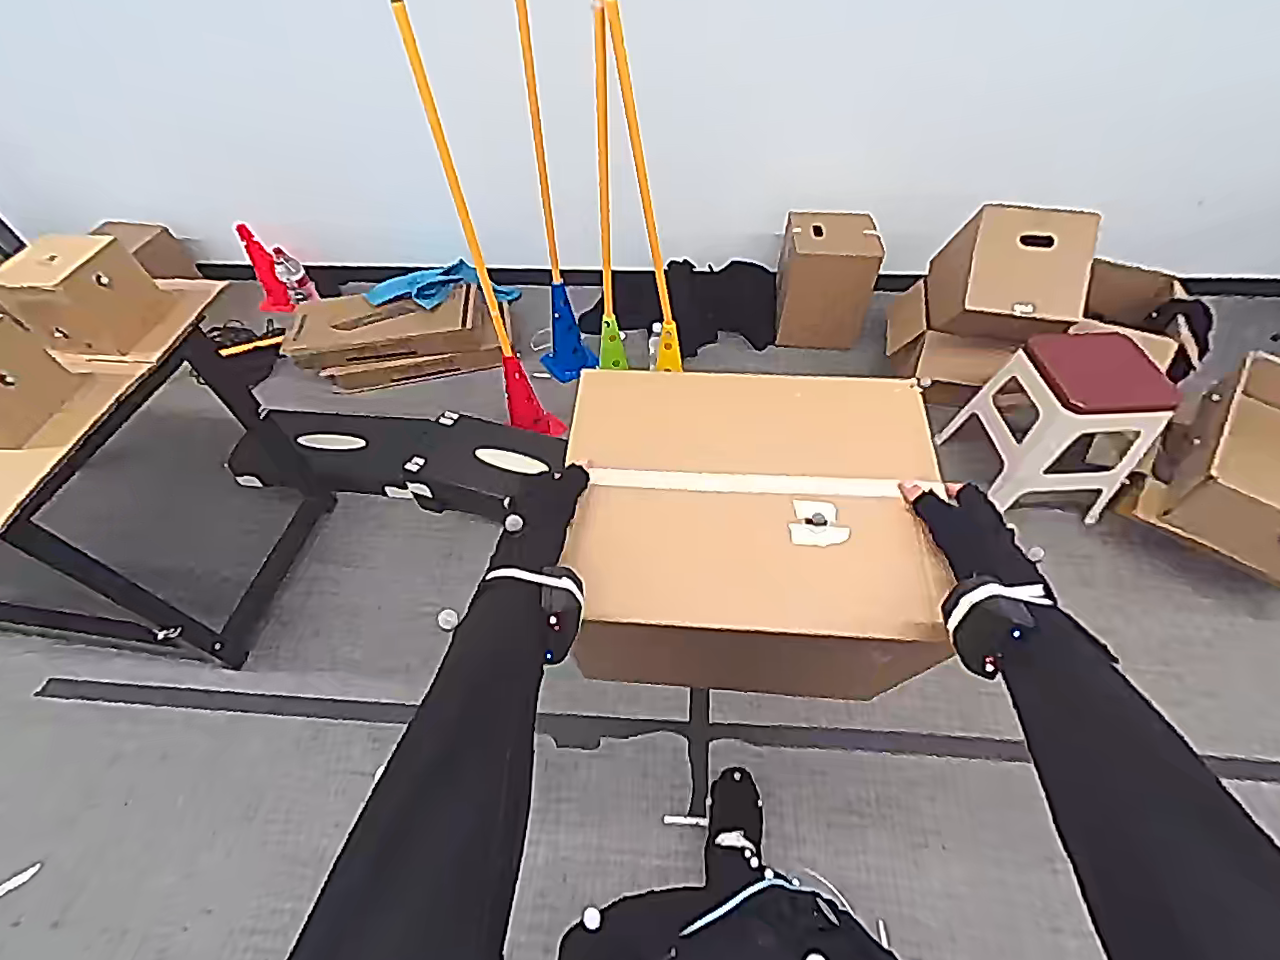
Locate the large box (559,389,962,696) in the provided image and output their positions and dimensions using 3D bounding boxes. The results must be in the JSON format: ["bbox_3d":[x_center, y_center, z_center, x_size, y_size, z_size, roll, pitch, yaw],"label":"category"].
[{"bbox_3d":[0.126,0.097,0.733,0.408,0.320,0.320,3,60,3],"label":"large box"}]
